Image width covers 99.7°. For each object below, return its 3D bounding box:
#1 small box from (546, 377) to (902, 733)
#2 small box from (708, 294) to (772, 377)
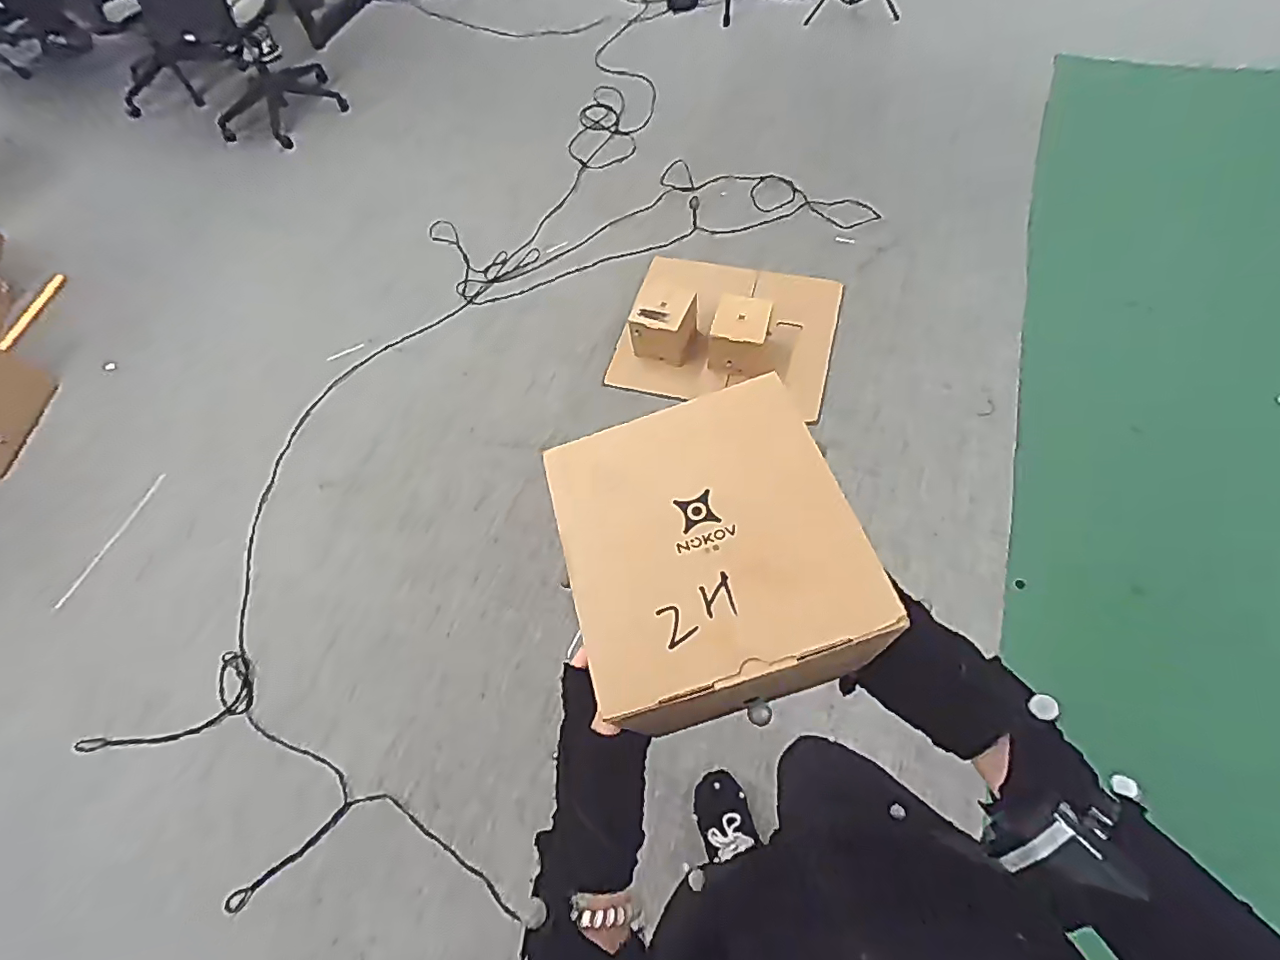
[{"bbox_3d":[0.049,0.064,0.386,0.168,0.176,0.179,-19,61,2],"label":"small box"},{"bbox_3d":[0.313,-0.456,1.717,0.168,0.176,0.179,12,66,12],"label":"small box"}]
